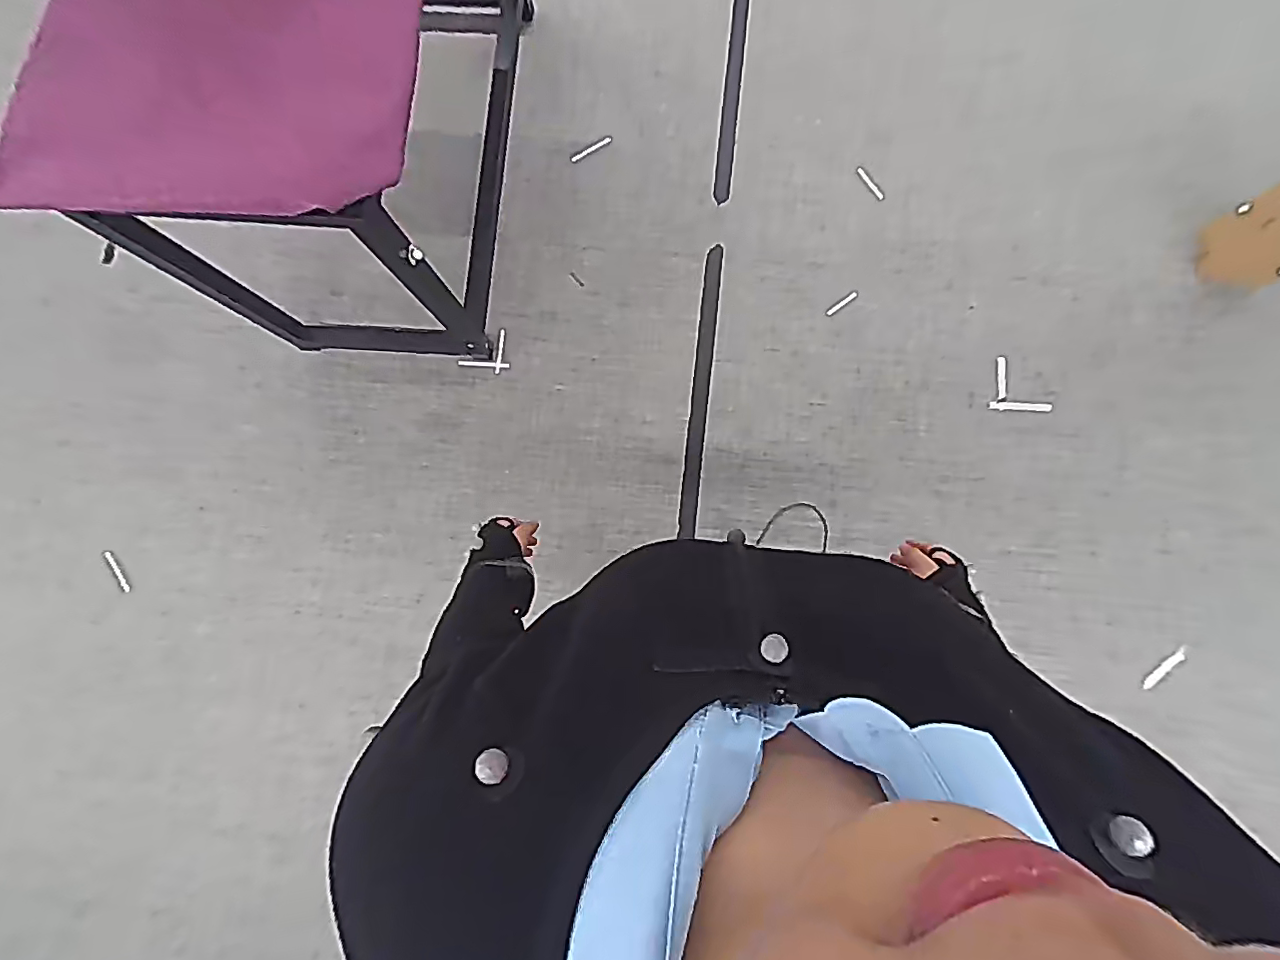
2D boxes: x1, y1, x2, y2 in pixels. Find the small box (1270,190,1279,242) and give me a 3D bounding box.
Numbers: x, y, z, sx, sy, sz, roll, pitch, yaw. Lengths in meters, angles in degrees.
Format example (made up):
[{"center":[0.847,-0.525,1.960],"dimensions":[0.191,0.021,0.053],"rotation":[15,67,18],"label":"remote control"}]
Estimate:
[{"center":[1.739,-0.691,1.338],"dimensions":[0.179,0.176,0.168],"rotation":[12,83,2],"label":"small box"}]
